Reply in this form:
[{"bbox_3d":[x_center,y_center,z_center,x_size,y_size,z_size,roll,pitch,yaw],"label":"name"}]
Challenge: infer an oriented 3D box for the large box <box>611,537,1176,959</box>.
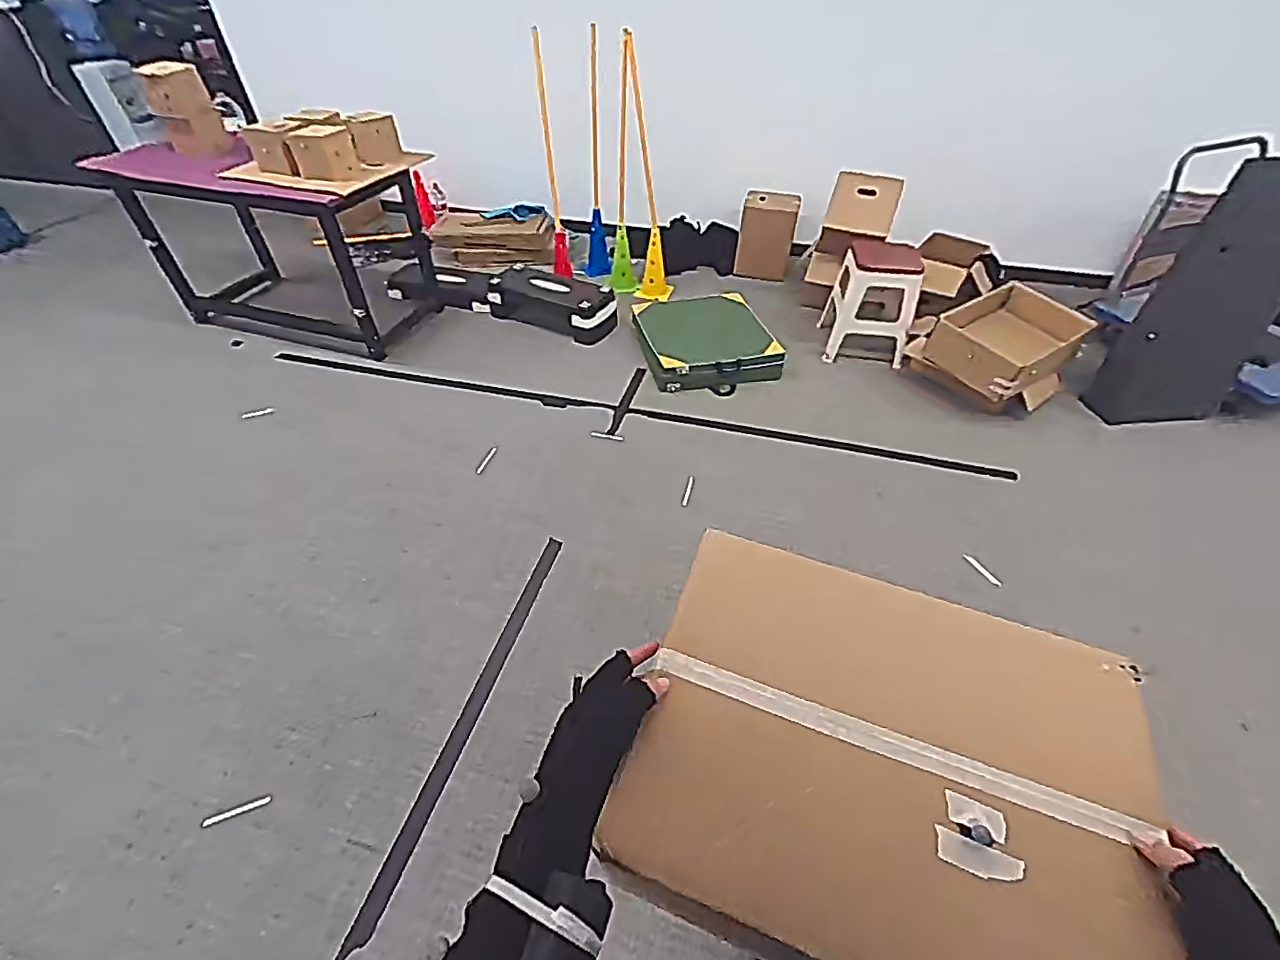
[{"bbox_3d":[0.210,0.318,0.577,0.408,0.320,0.320,17,53,13],"label":"large box"}]
